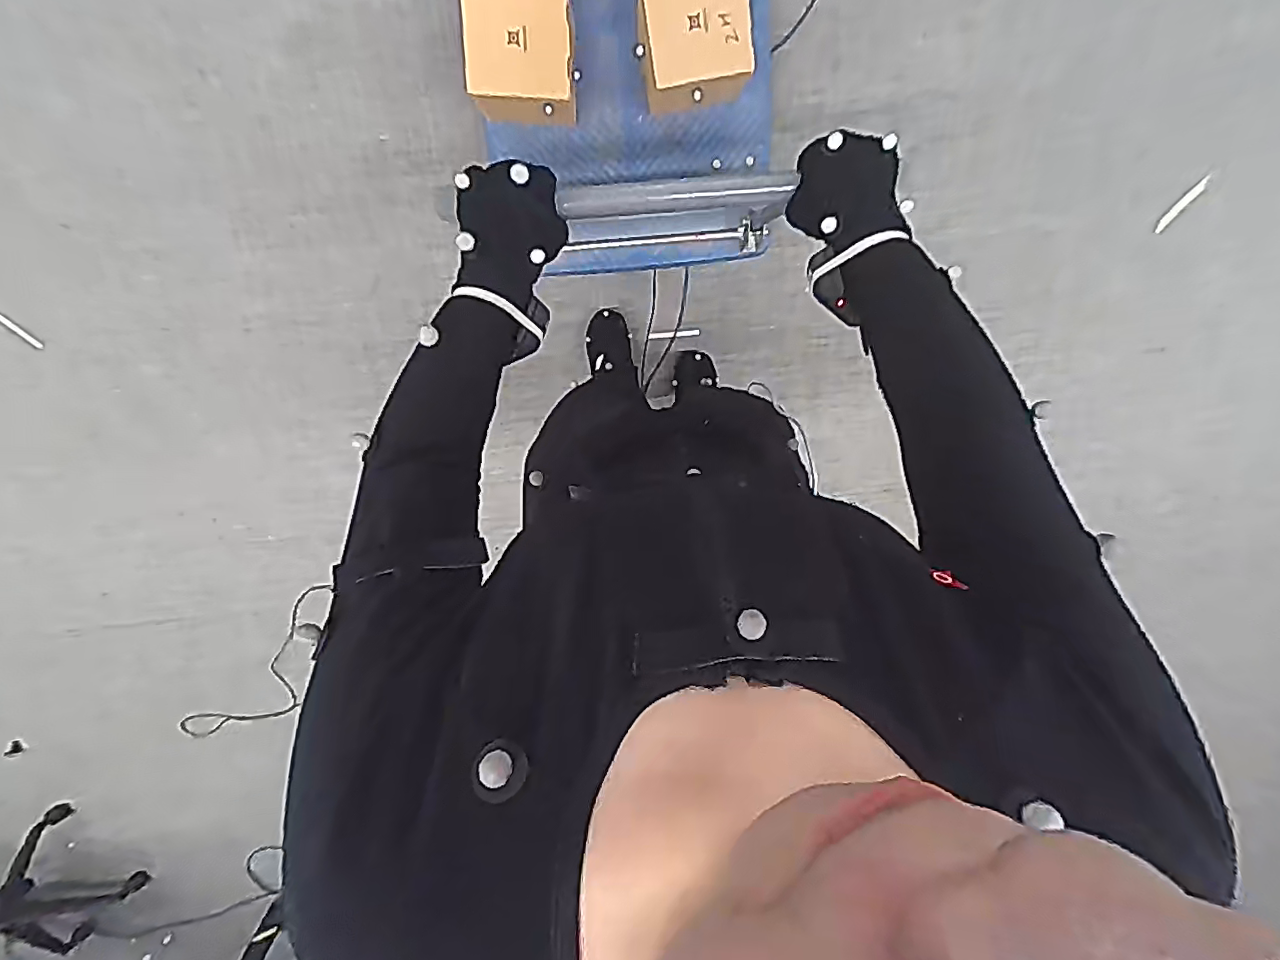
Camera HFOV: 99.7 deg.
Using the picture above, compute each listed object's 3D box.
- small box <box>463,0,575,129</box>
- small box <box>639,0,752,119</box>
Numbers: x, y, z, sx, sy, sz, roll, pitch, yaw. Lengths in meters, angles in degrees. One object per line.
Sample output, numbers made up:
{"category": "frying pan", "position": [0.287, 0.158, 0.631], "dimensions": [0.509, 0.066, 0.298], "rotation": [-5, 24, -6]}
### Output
{"category": "small box", "position": [-0.210, -0.758, 0.983], "dimensions": [0.179, 0.176, 0.168], "rotation": [0, 109, -5]}
{"category": "small box", "position": [0.094, -0.789, 0.988], "dimensions": [0.179, 0.176, 0.168], "rotation": [-11, 110, 1]}
